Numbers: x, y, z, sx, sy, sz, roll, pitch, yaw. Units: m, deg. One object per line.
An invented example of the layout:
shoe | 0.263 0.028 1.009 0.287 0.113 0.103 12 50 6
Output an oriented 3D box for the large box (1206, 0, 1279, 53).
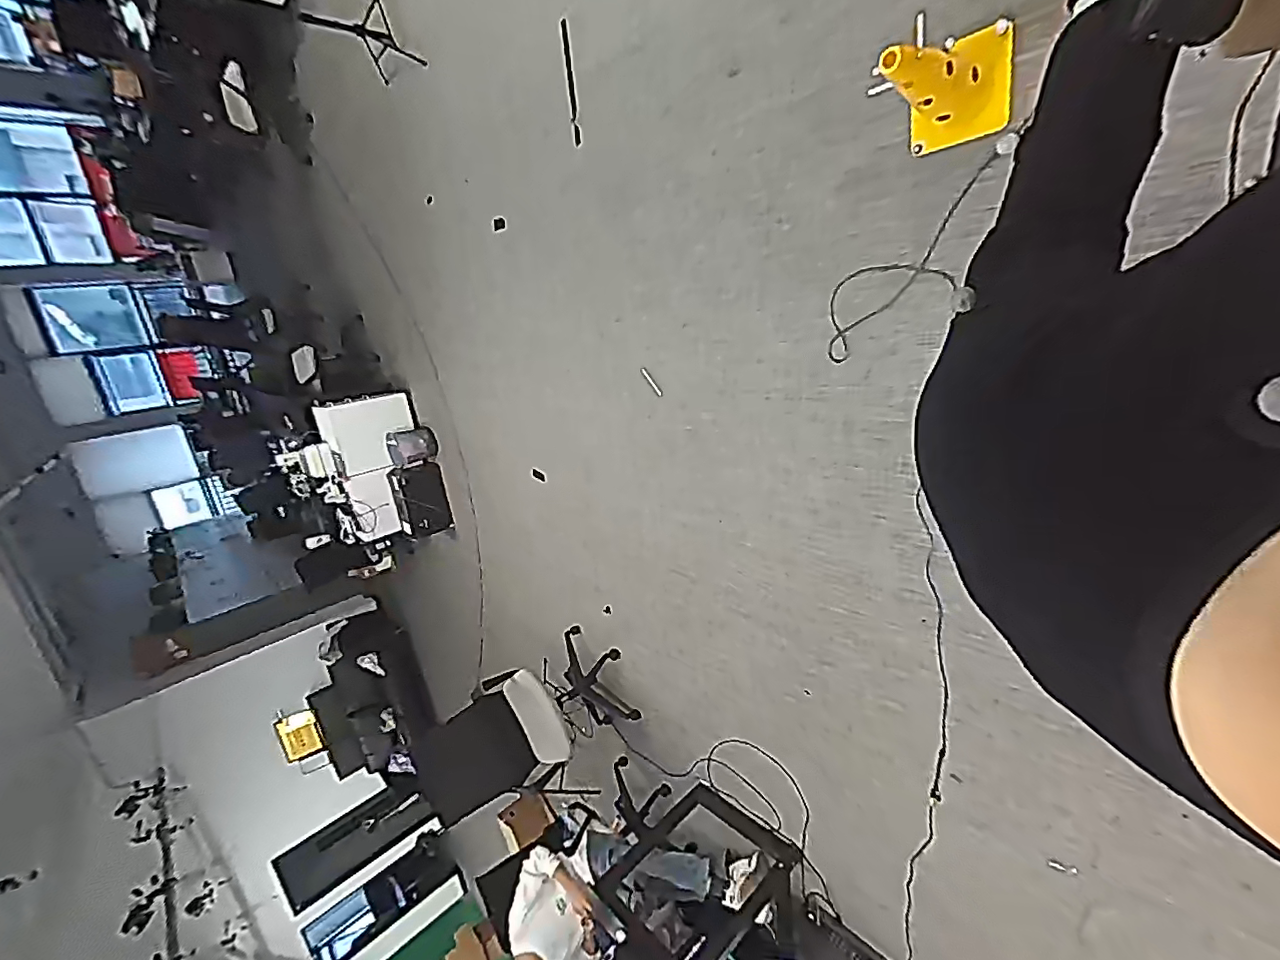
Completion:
large box | 0.580 -0.463 0.243 0.408 0.320 0.320 19 123 44
